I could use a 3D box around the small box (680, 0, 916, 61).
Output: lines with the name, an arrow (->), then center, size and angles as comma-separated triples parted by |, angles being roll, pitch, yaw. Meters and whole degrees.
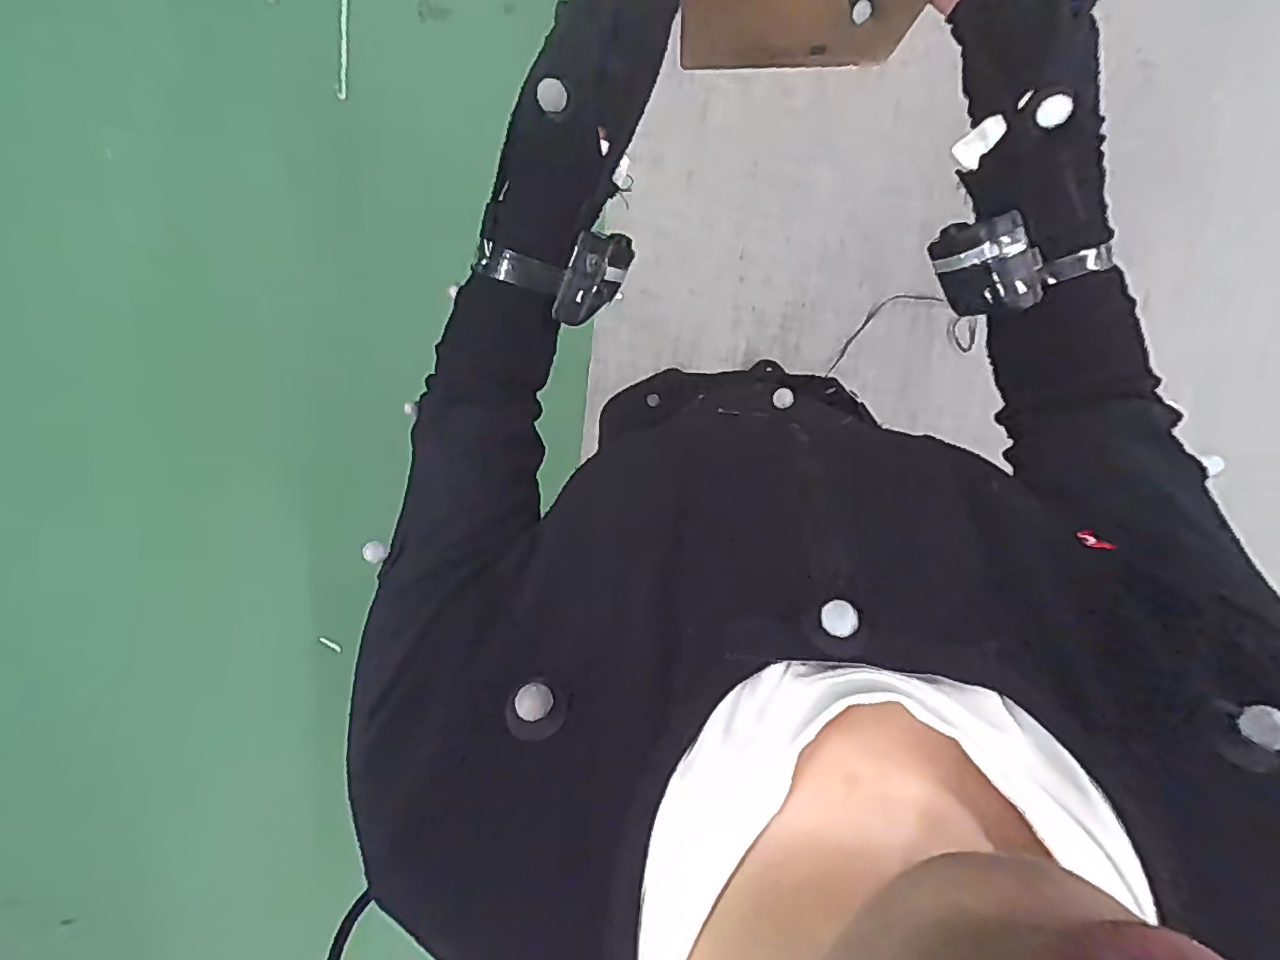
small box -> 0.111, -0.401, 0.340 | 0.168, 0.176, 0.179 | 1, 101, 2
